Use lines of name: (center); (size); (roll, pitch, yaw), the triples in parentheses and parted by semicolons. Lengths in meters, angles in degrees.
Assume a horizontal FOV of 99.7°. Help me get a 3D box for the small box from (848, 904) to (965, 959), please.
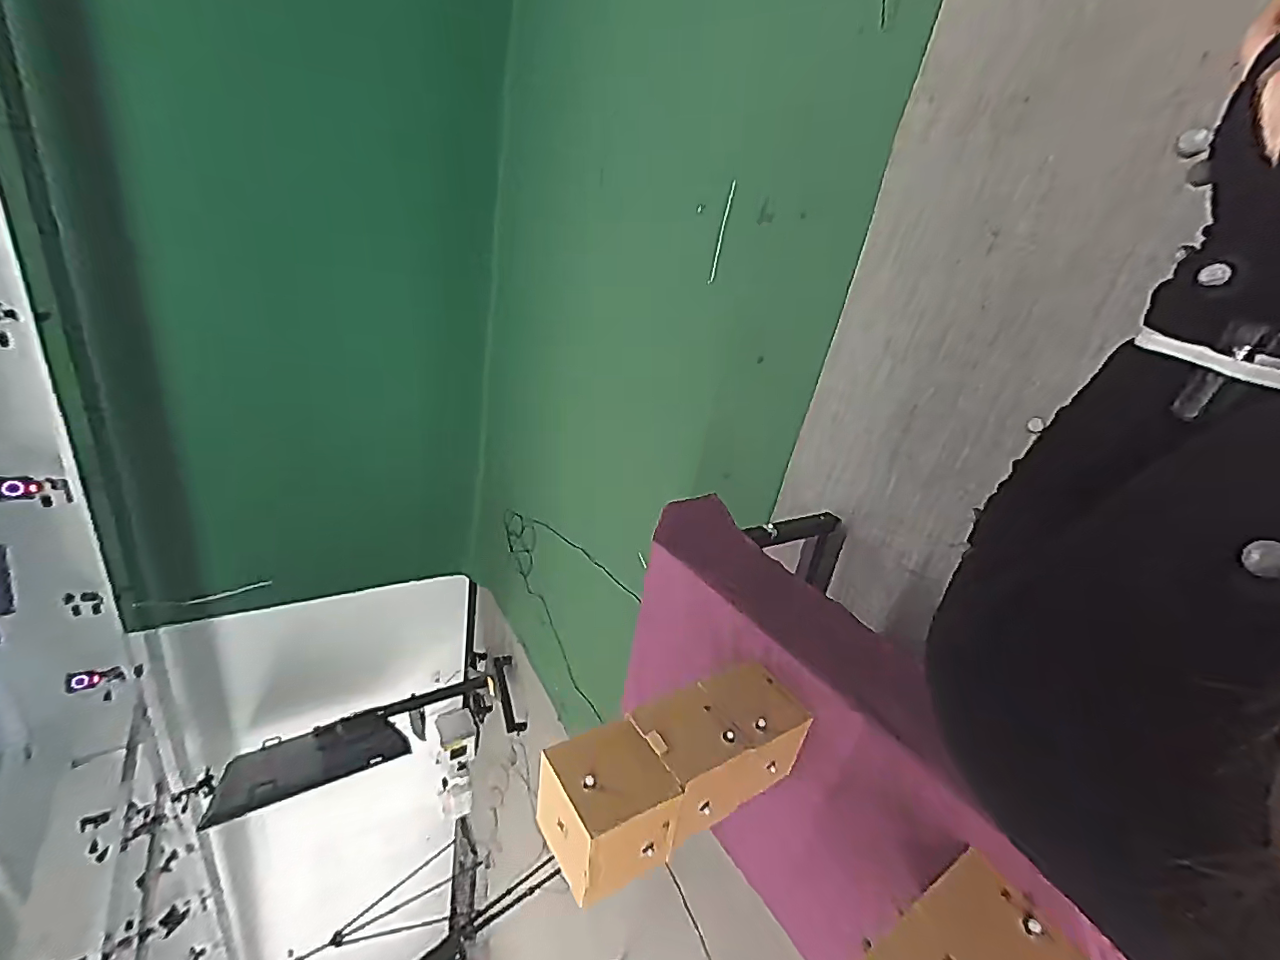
small box: (0.323, 0.680, 0.659); (0.168, 0.176, 0.179); (41, 129, 44)

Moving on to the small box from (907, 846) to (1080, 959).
small box: (0.460, 0.665, 0.752); (0.168, 0.176, 0.179); (42, 128, 44)

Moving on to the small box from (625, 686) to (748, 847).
small box: (0.077, 0.517, 0.999); (0.168, 0.176, 0.179); (36, 125, 48)

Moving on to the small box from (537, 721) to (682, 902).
small box: (-0.056, 0.535, 0.906); (0.179, 0.176, 0.168); (33, 123, 48)
